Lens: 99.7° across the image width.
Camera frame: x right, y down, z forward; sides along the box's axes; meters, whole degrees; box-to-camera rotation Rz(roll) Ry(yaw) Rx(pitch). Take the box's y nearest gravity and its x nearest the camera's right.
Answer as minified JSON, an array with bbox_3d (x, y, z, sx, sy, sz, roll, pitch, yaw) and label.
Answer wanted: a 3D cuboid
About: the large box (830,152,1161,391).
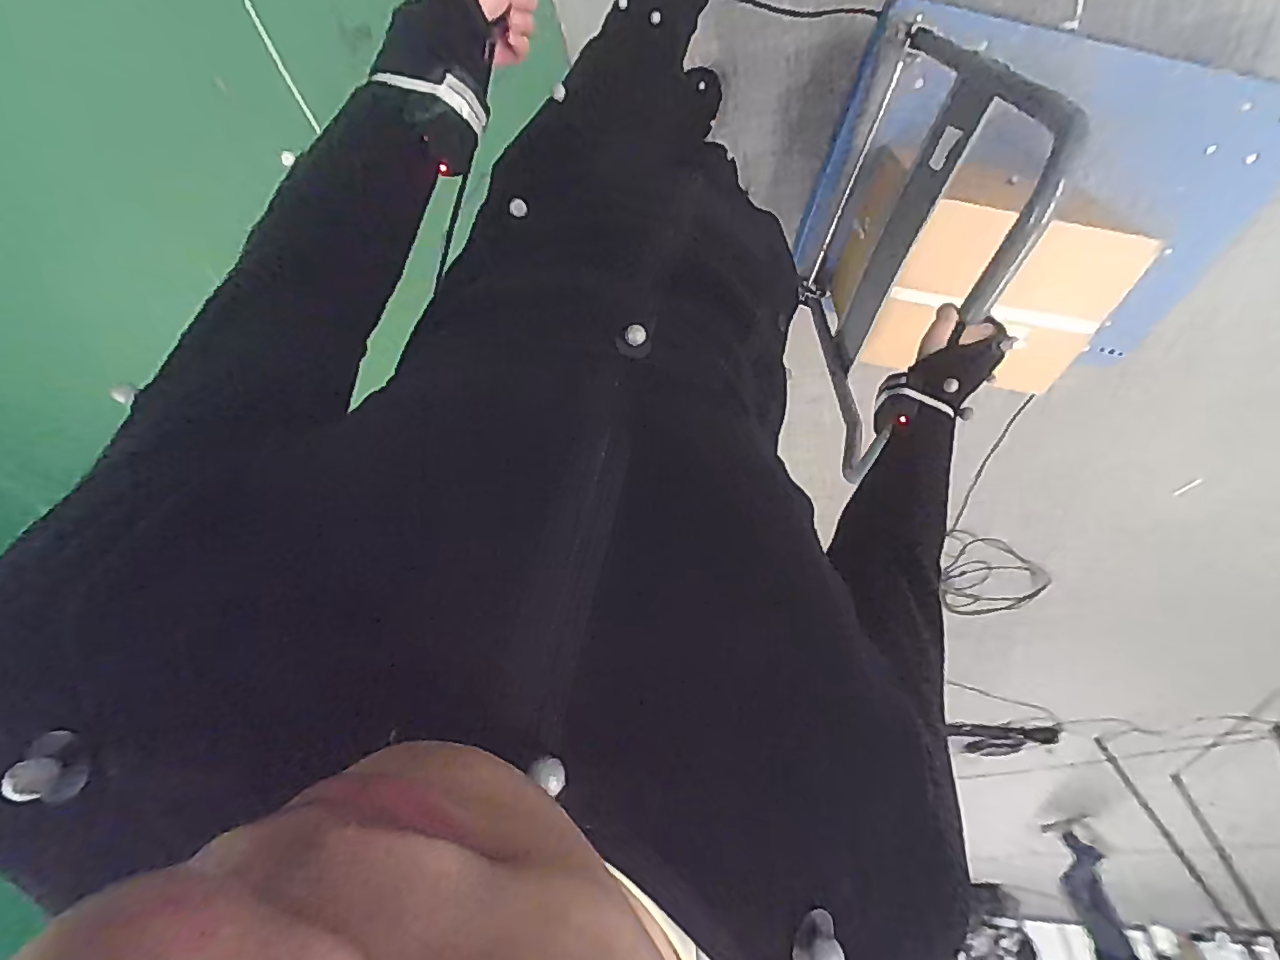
[{"bbox_3d":[0.650,-0.420,1.086,0.408,0.320,0.320,10,136,-3],"label":"large box"}]
